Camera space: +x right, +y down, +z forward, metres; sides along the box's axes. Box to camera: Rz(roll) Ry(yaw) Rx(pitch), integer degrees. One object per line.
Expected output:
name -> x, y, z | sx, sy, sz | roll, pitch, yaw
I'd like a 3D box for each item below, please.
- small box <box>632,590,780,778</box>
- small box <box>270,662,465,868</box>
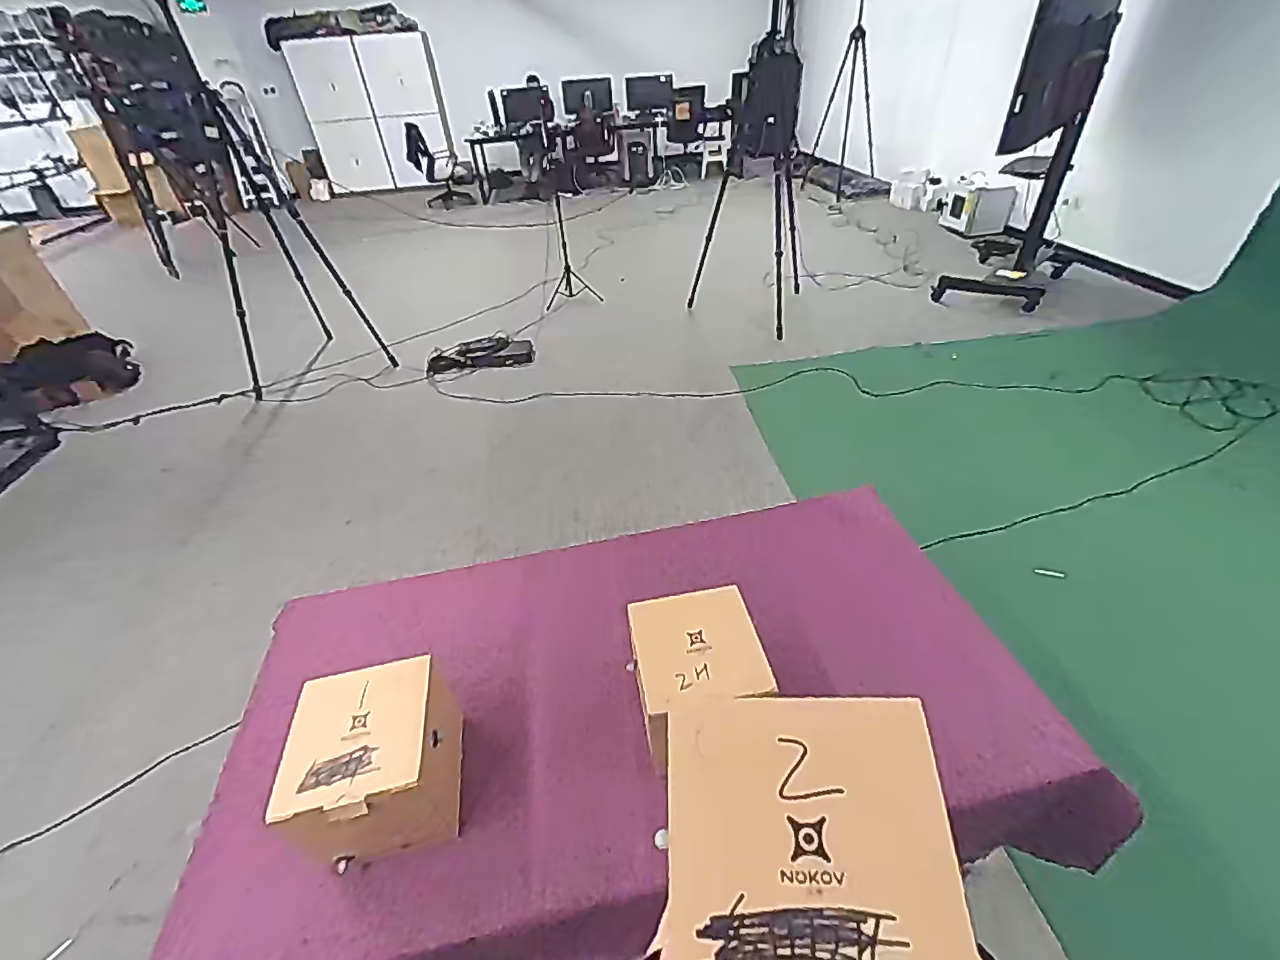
small box -> 0.085, 0.288, 0.770 | 0.168, 0.176, 0.179 | -10, 39, -4
small box -> -0.336, 0.376, 0.710 | 0.168, 0.176, 0.179 | -11, 37, -7
